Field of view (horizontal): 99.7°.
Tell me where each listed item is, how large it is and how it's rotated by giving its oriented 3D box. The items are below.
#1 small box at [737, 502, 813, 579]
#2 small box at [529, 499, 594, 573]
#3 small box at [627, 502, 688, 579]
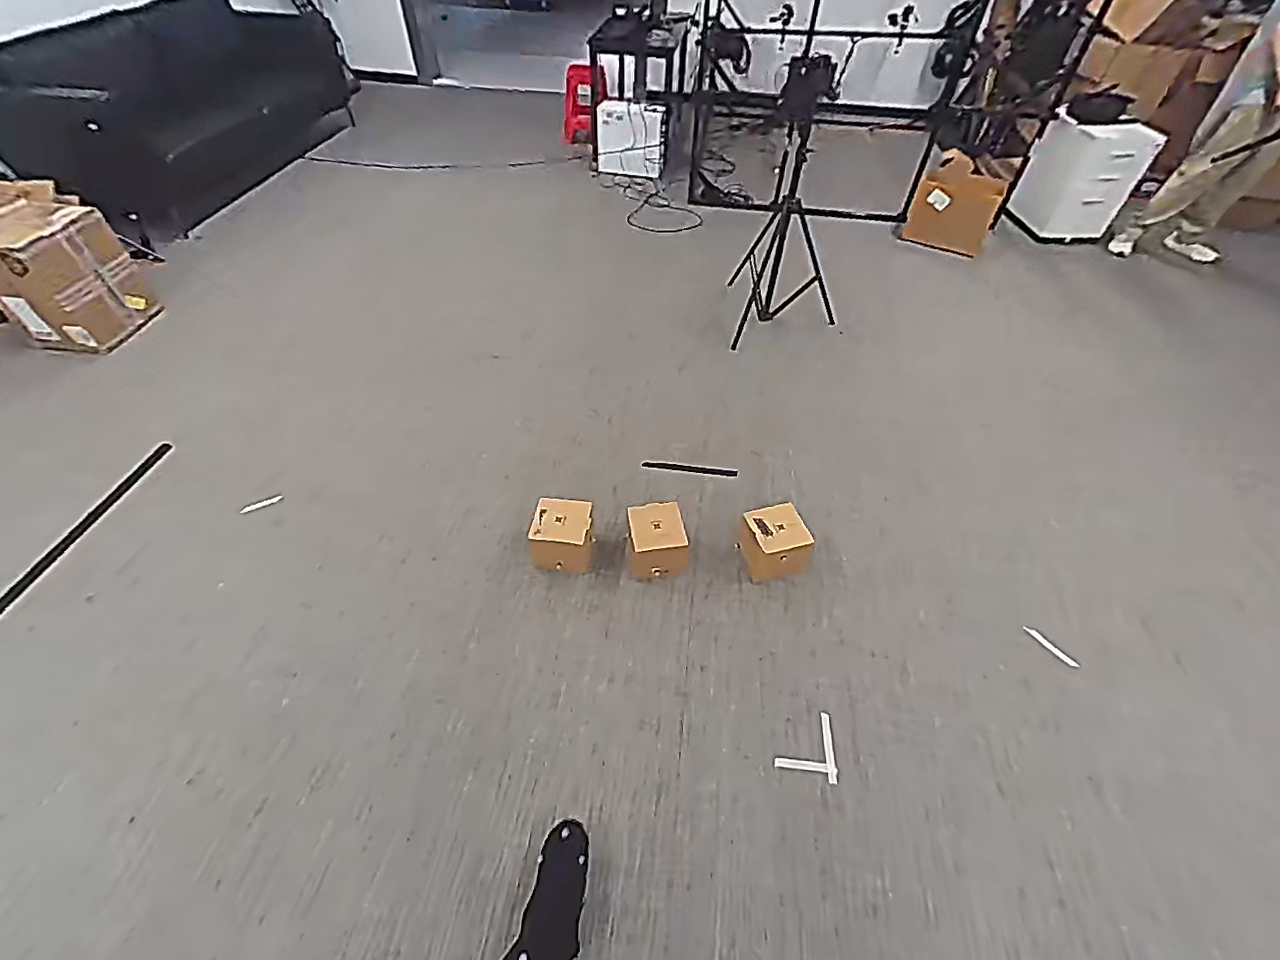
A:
[{"bbox_3d":[0.425,0.199,1.744,0.179,0.176,0.168,-11,50,-13],"label":"small box"},{"bbox_3d":[-0.246,0.184,1.743,0.179,0.176,0.168,6,48,3],"label":"small box"},{"bbox_3d":[0.051,0.195,1.740,0.168,0.176,0.179,-8,50,-7],"label":"small box"}]
